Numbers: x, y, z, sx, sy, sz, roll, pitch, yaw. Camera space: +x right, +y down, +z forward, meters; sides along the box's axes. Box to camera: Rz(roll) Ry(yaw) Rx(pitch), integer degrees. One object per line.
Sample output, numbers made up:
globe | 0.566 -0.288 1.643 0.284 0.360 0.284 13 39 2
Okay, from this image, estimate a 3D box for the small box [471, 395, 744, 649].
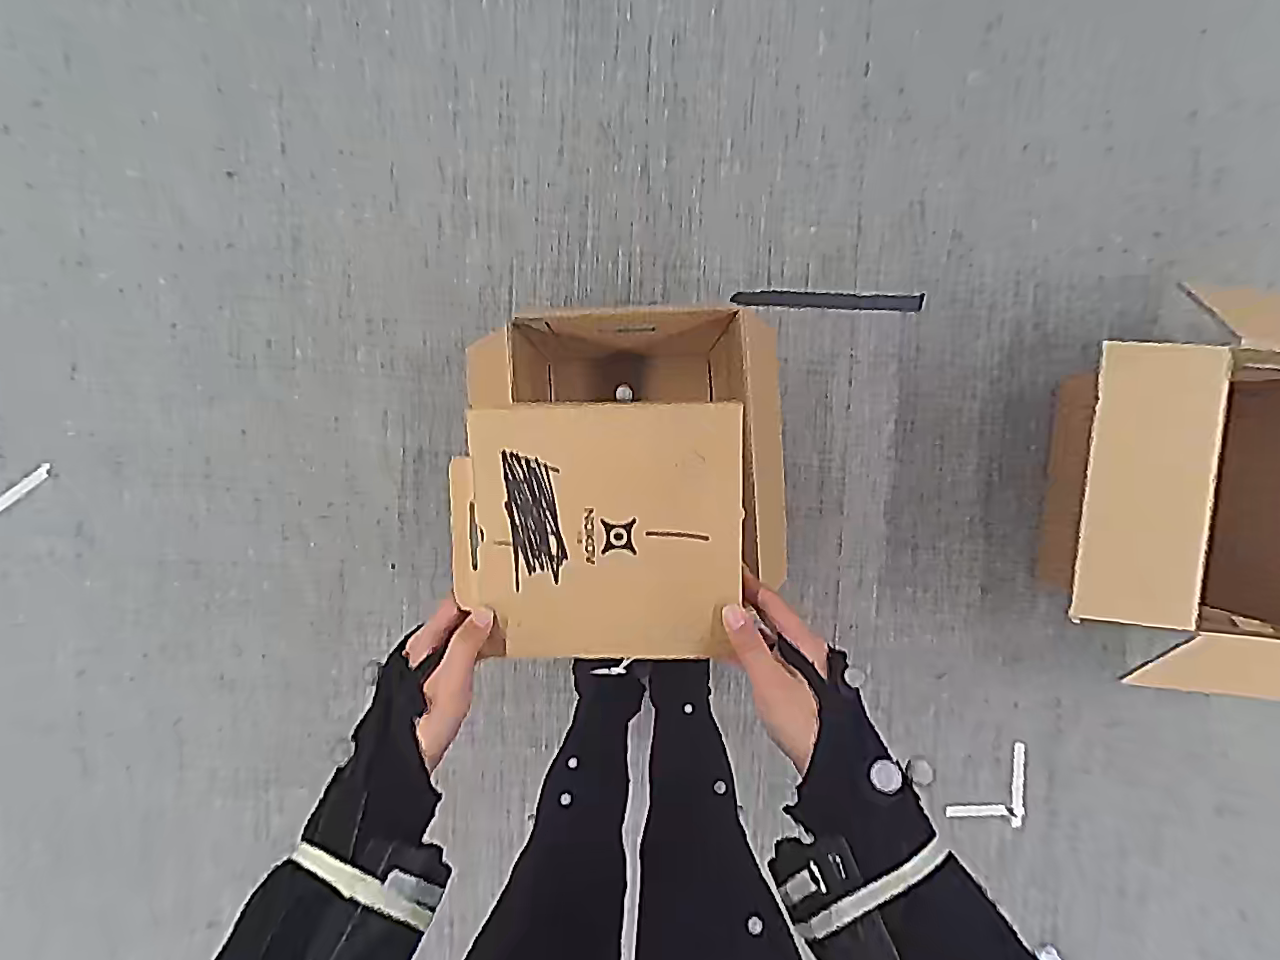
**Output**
small box | -0.017 0.022 0.427 0.179 0.176 0.168 -1 96 2
